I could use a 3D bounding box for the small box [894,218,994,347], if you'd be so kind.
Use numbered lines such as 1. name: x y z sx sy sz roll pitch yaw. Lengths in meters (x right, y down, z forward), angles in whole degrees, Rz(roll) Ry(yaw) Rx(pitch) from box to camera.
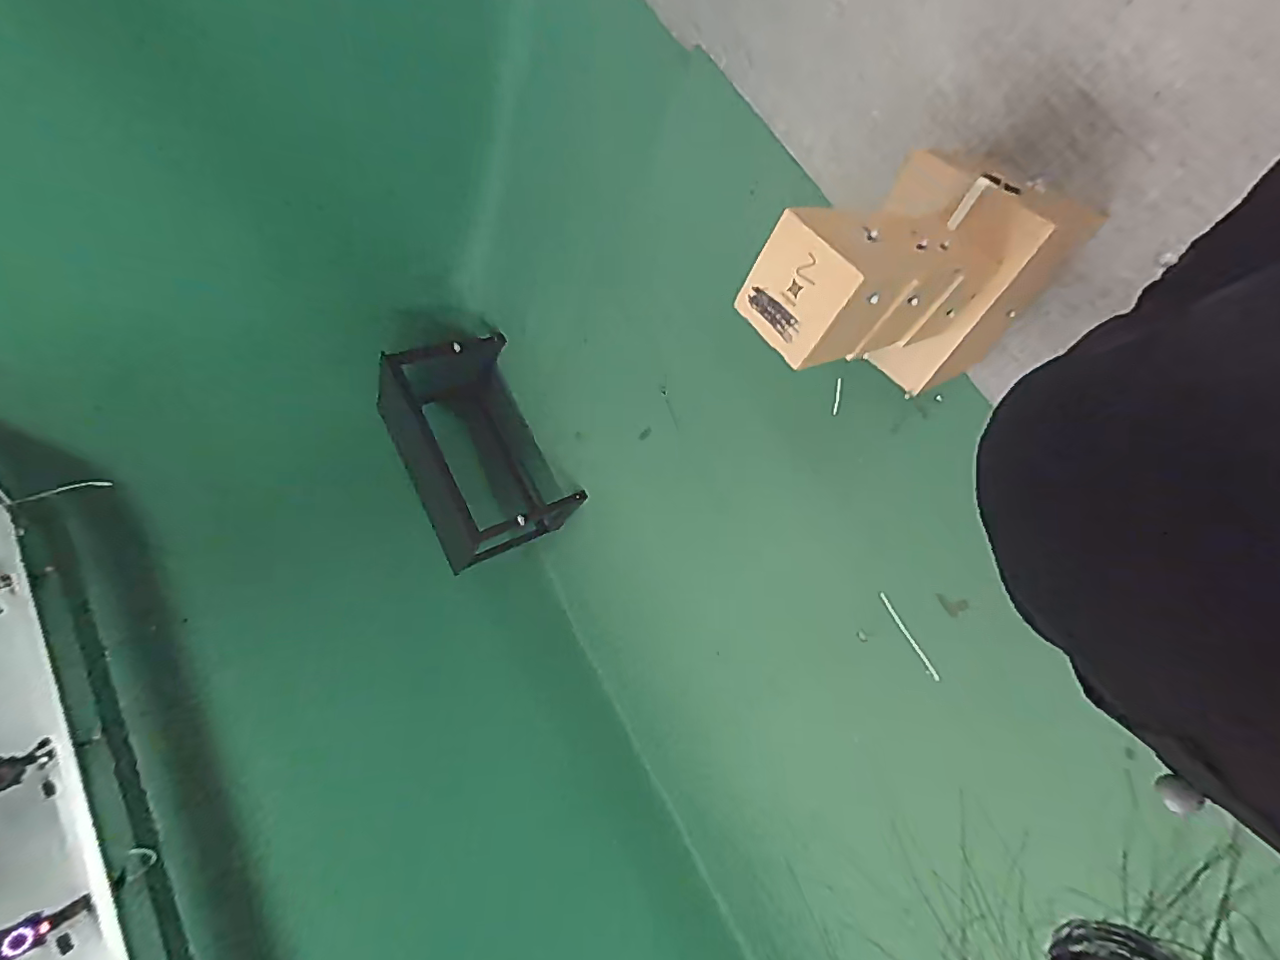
1. small box: 0.541 -0.392 1.056 0.179 0.176 0.168 53 142 20

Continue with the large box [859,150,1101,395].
1. large box: 0.703 -0.473 1.227 0.320 0.320 0.408 50 143 25

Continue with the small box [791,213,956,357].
1. small box: 0.415 -0.349 0.964 0.168 0.176 0.179 54 142 19
